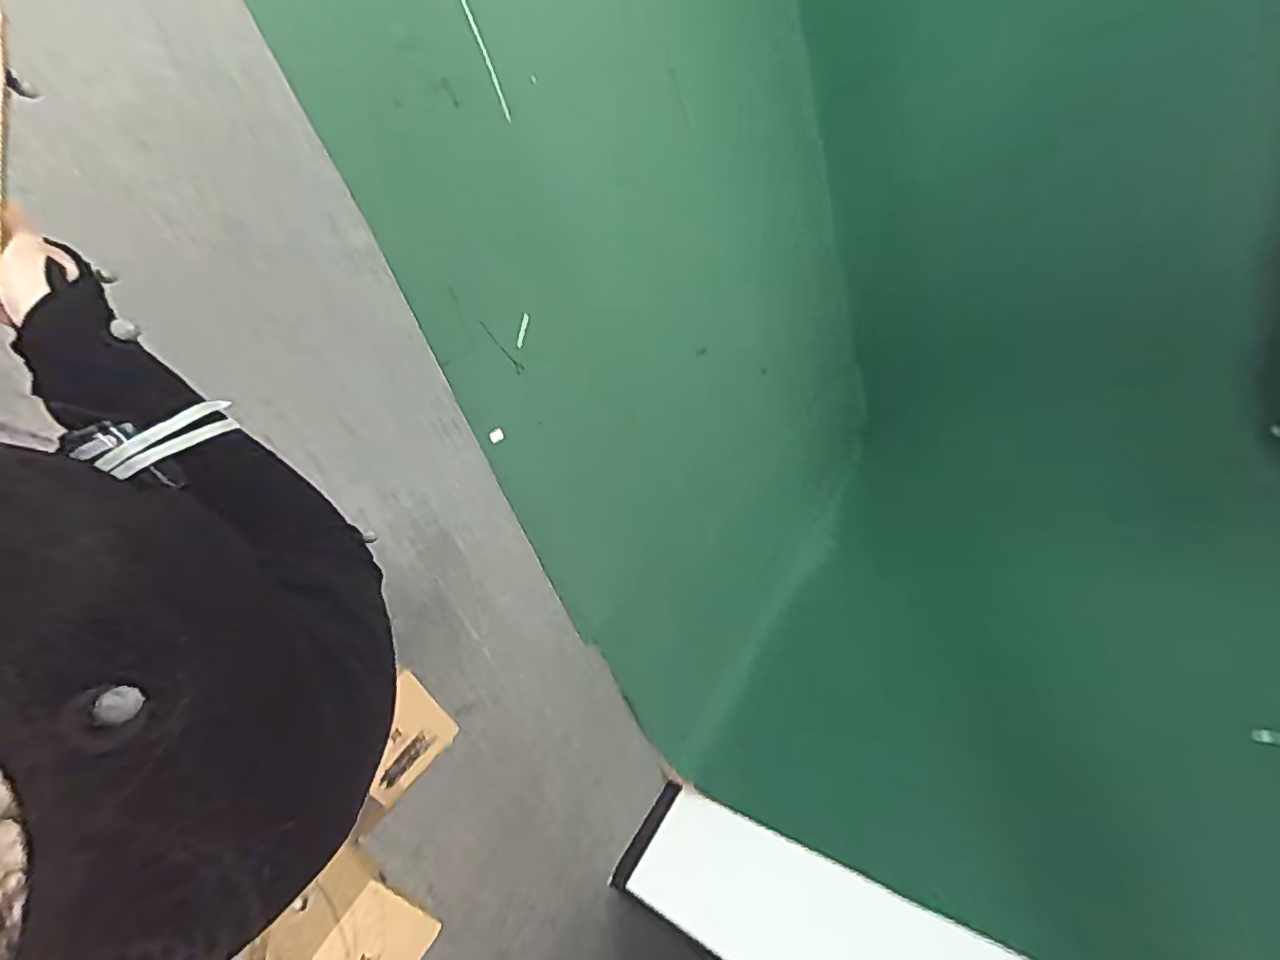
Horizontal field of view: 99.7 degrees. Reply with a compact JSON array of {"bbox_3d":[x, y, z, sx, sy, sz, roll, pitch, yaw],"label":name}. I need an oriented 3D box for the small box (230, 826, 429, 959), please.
[{"bbox_3d":[-0.469,0.667,0.819,0.168,0.176,0.179,-49,127,-35],"label":"small box"}]
